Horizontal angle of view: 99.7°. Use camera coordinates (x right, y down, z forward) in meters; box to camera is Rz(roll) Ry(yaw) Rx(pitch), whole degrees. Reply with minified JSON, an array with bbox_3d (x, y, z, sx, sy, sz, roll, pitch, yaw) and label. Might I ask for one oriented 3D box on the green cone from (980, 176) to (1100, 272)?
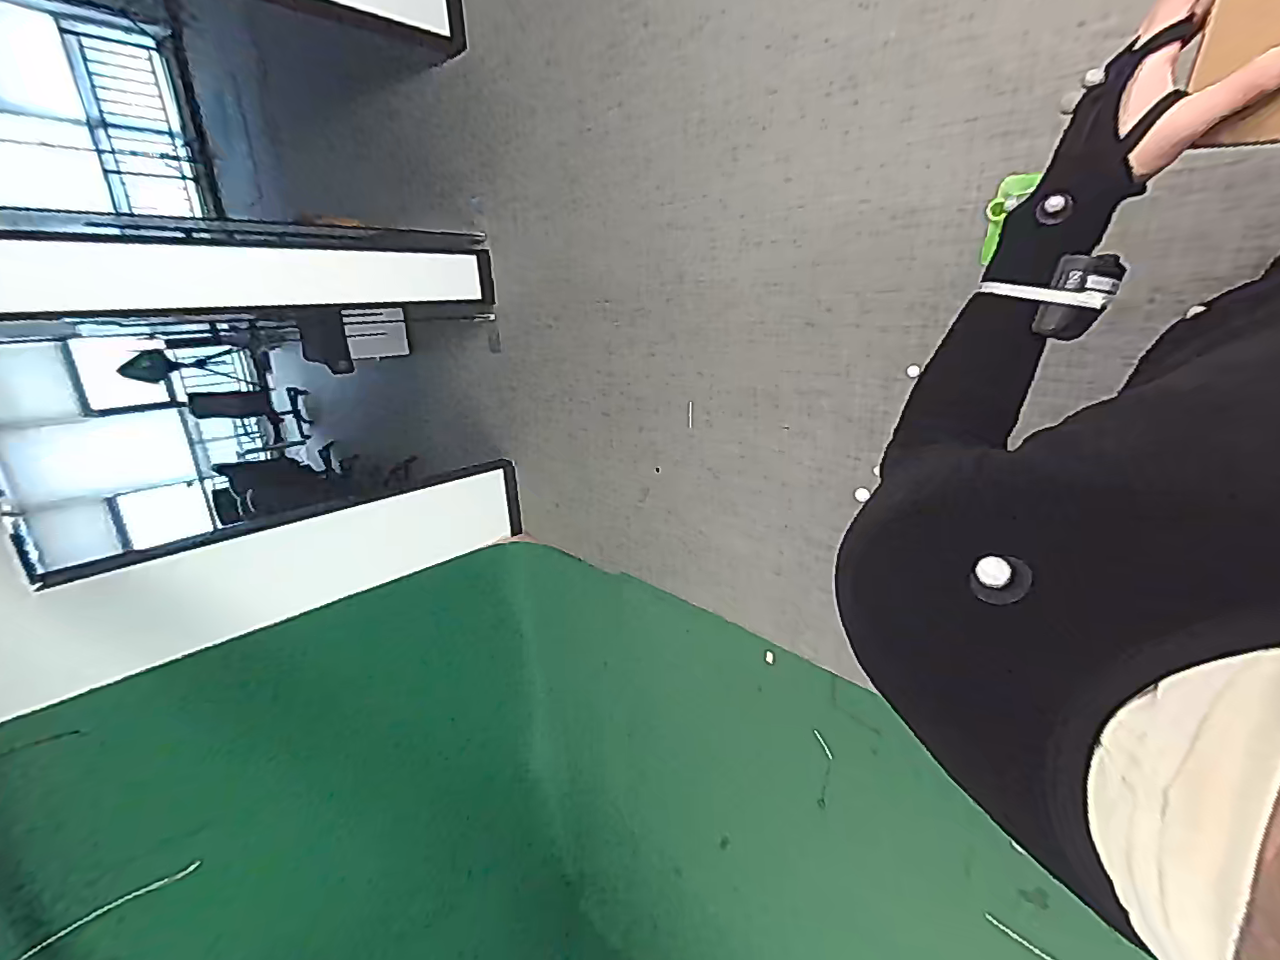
[{"bbox_3d":[0.809,-0.555,1.161,0.200,0.368,0.202,23,121,41],"label":"green cone"}]
